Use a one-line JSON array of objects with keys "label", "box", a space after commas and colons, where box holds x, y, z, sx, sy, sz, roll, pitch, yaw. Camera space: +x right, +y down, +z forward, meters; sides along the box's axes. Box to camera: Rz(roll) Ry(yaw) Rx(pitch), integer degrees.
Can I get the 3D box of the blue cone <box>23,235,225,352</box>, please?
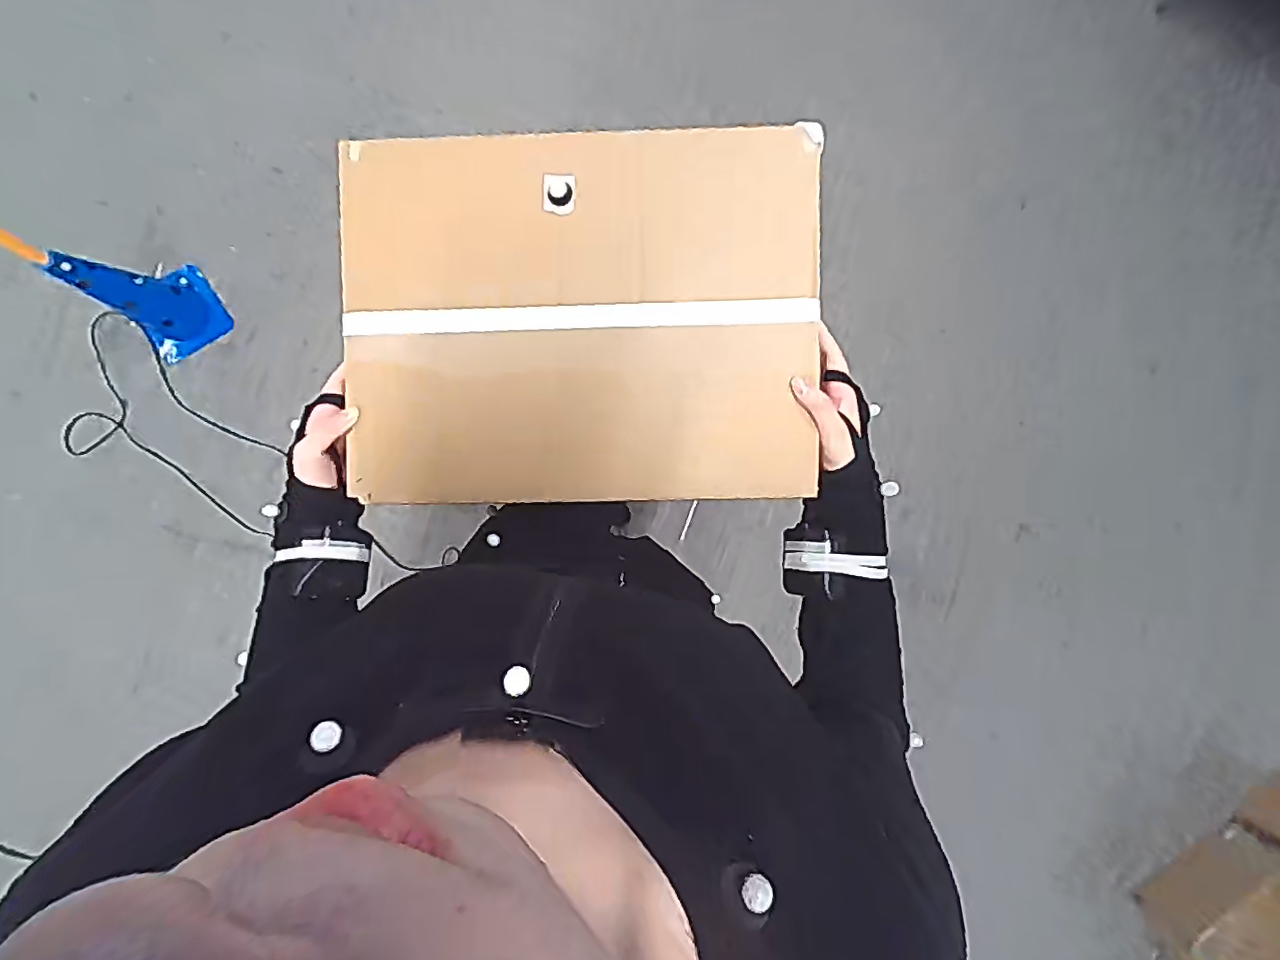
[{"label": "blue cone", "box": [-1.159, -0.437, 1.194, 0.192, 0.380, 0.193, -35, 93, -5]}]
